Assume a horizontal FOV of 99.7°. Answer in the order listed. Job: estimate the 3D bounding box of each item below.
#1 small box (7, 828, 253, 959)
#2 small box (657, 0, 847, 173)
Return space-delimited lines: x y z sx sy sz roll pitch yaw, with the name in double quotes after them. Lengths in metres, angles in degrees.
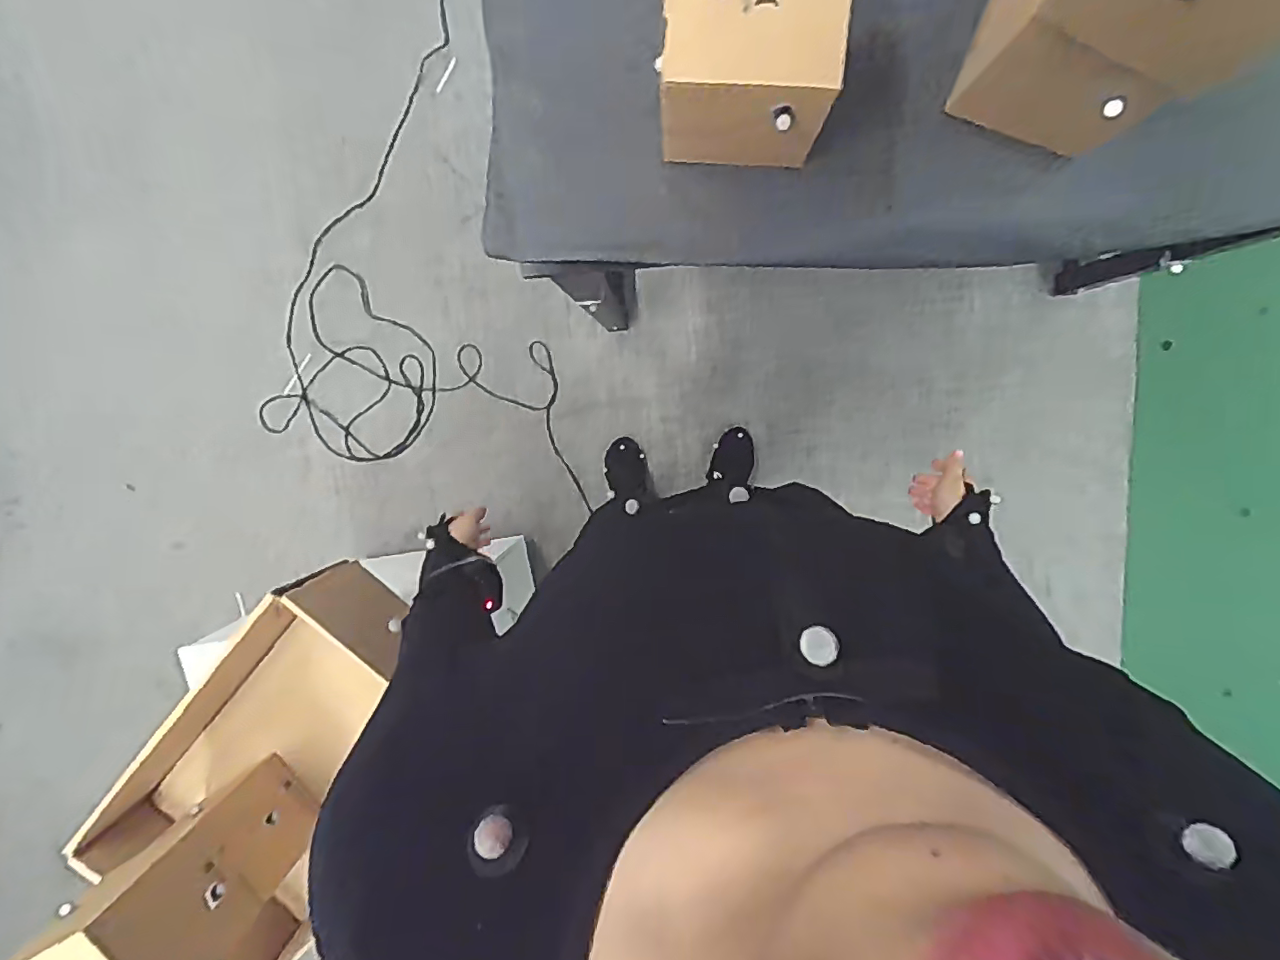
-0.691 0.630 0.735 0.179 0.176 0.168 -31 97 6 "small box"
0.115 -0.461 0.597 0.179 0.176 0.168 5 97 4 "small box"
